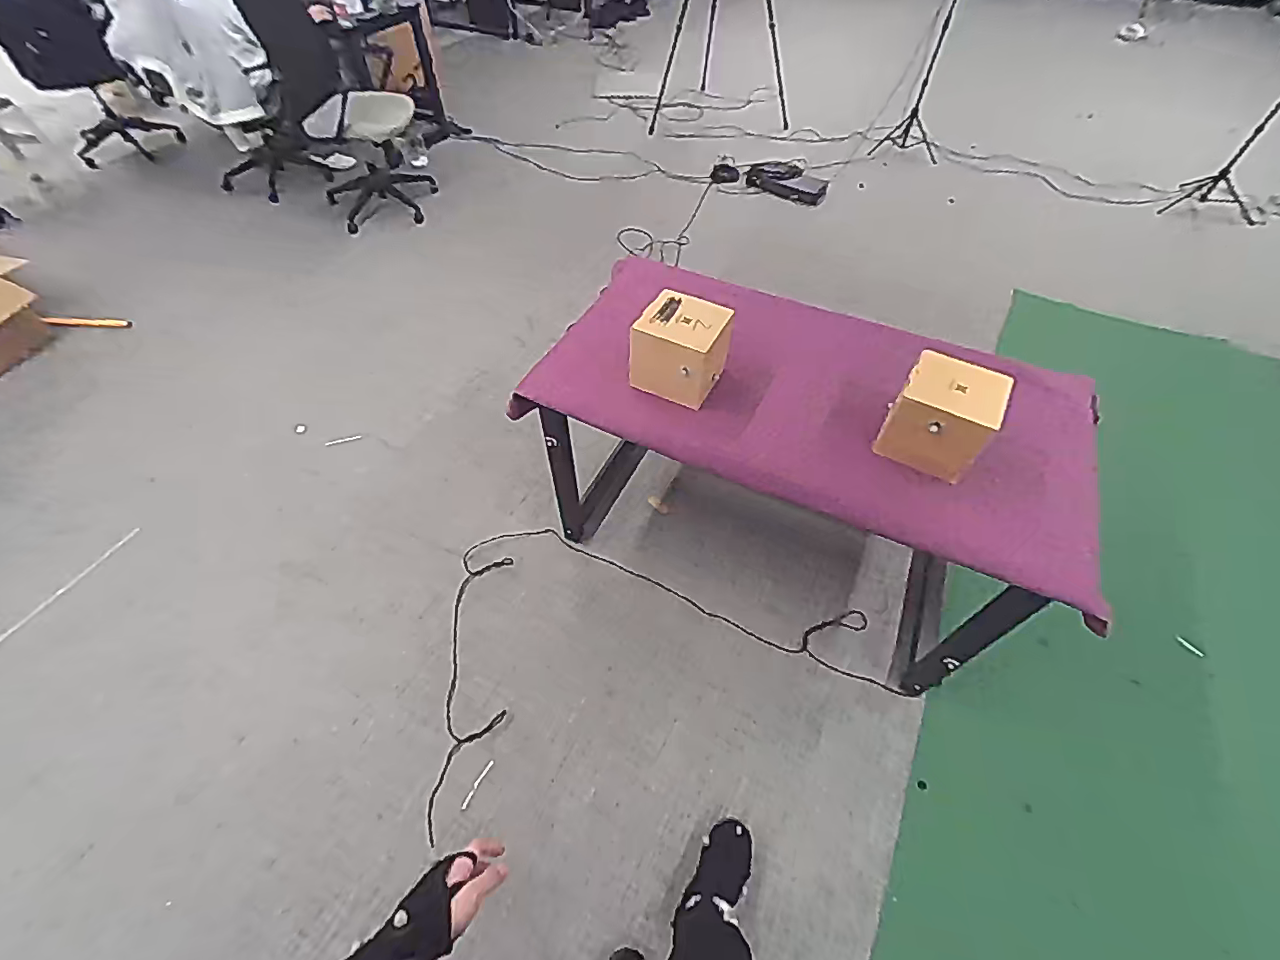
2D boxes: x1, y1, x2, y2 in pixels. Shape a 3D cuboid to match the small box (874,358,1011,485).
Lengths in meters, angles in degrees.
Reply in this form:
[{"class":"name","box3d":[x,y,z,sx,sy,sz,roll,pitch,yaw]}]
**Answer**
[{"class":"small box","box3d":[0.615,-0.114,1.111,0.179,0.176,0.168,26,57,19]}]
